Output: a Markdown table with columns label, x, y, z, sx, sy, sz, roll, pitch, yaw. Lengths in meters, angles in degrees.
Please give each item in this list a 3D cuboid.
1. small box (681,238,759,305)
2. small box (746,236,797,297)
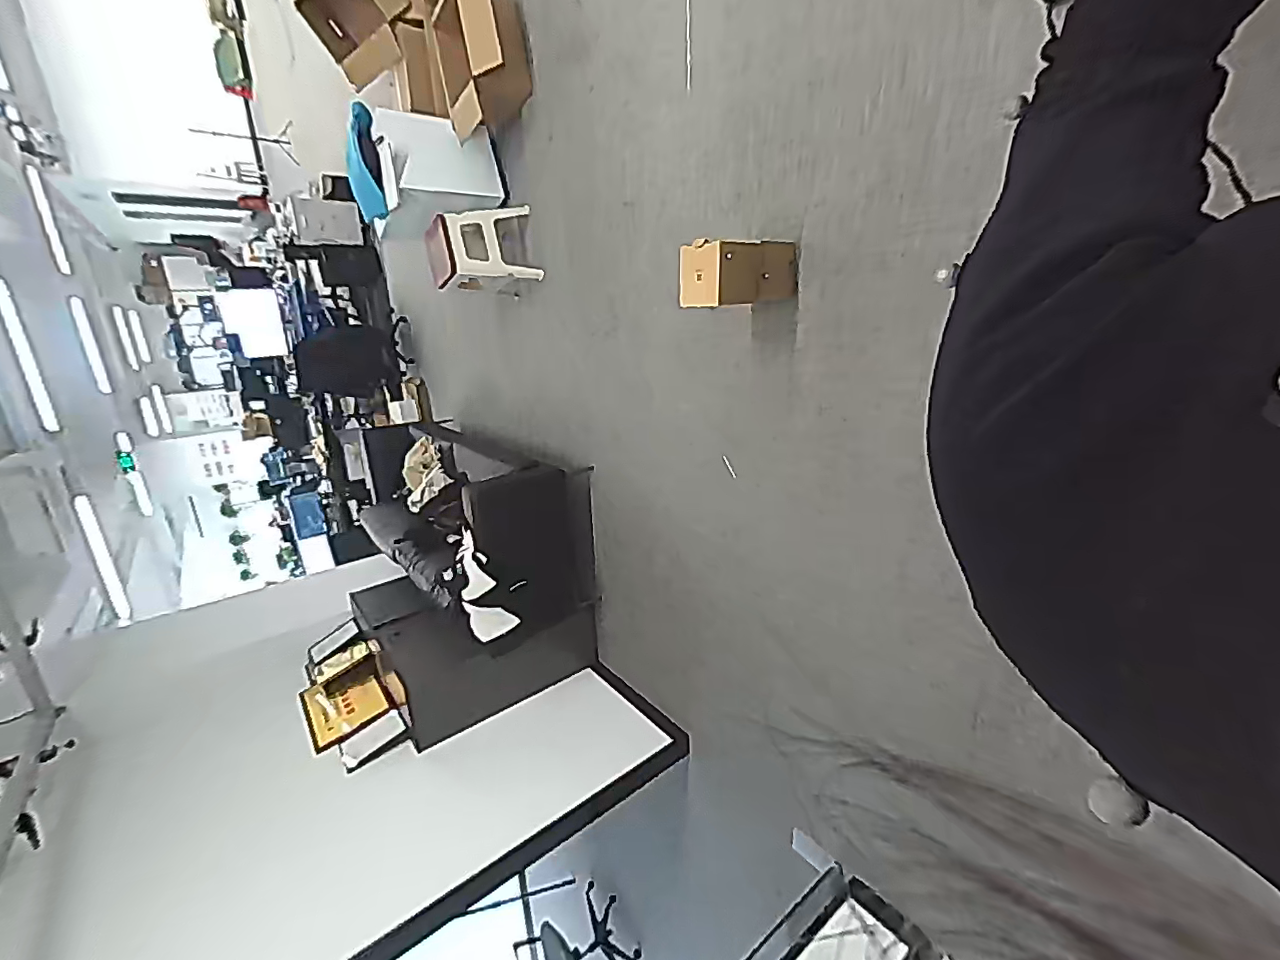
| label | x | y | z | sx | sy | sz | roll | pitch | yaw |
| --- | --- | --- | --- | --- | --- | --- | --- | --- | --- |
| small box | 0.241 | -0.623 | 1.621 | 0.168 | 0.176 | 0.179 | 19 | 117 | 49 |
| small box | 0.370 | -0.669 | 1.711 | 0.179 | 0.176 | 0.168 | 20 | 118 | 49 |
